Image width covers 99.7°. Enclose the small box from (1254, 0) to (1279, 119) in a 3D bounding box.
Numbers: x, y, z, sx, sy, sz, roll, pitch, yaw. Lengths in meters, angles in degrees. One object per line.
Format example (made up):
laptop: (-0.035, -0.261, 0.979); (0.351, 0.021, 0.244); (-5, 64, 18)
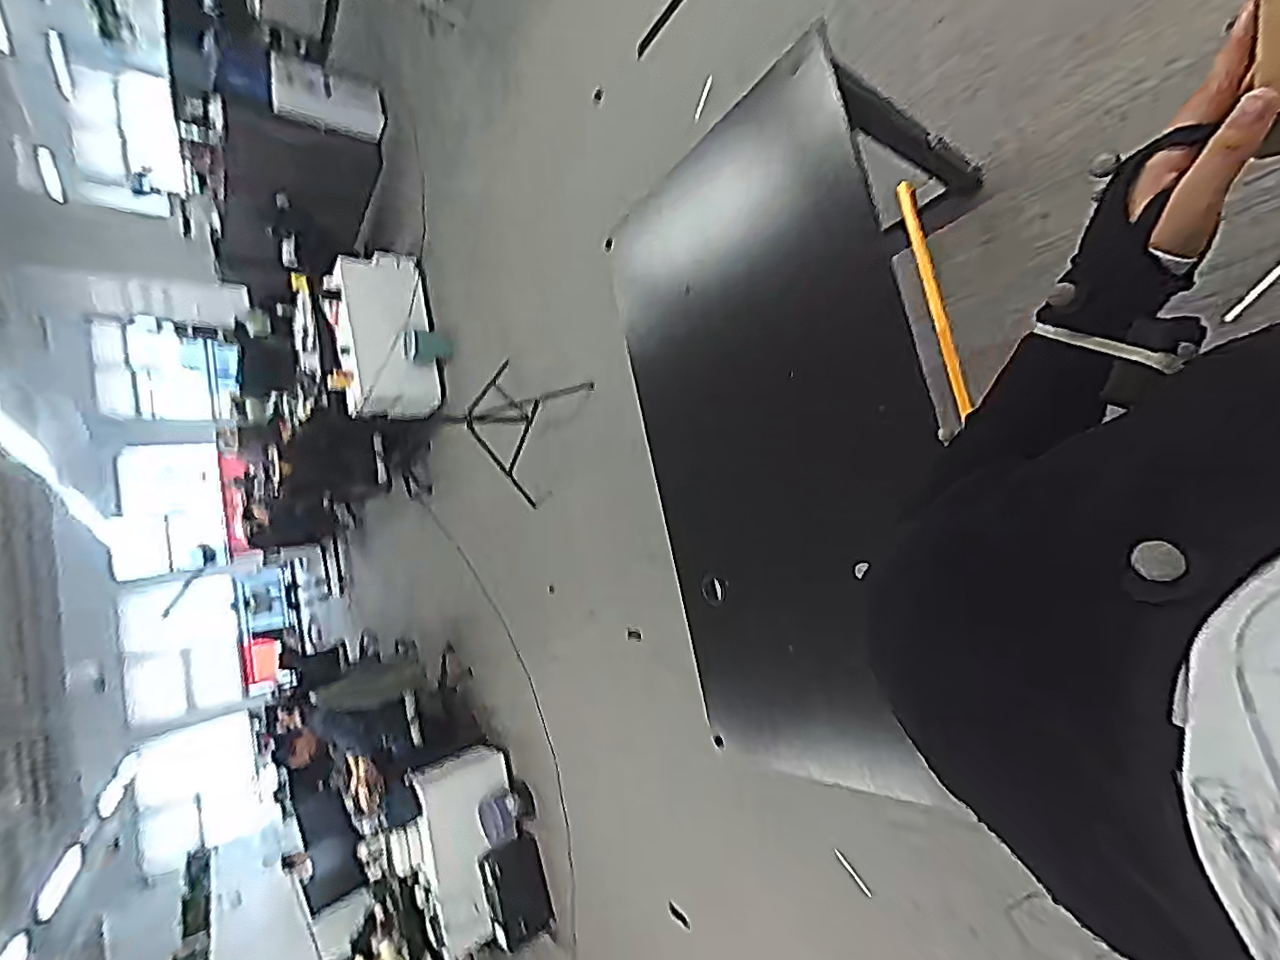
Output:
small box: (0.435, -0.301, 0.261); (0.168, 0.176, 0.179); (6, 110, 50)
